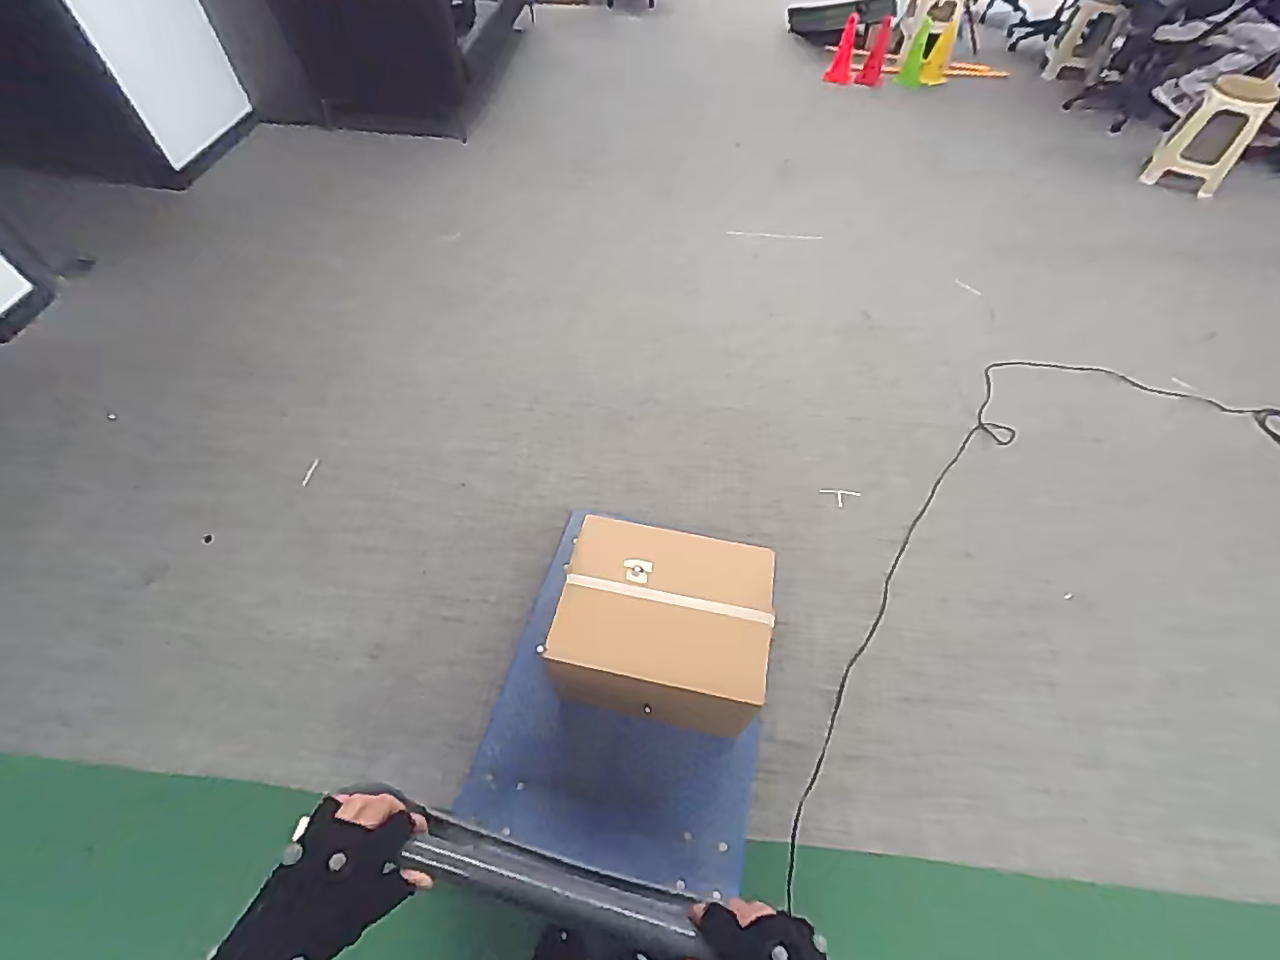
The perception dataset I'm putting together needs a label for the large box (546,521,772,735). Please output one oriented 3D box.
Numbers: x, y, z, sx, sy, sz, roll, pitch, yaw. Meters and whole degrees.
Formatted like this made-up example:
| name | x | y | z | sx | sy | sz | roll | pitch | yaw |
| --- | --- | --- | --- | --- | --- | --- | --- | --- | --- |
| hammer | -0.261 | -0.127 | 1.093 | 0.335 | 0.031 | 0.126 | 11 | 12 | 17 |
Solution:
| name | x | y | z | sx | sy | sz | roll | pitch | yaw |
| --- | --- | --- | --- | --- | --- | --- | --- | --- | --- |
| large box | 0.051 | 0.326 | 1.167 | 0.408 | 0.320 | 0.320 | 10 | 54 | 7 |
